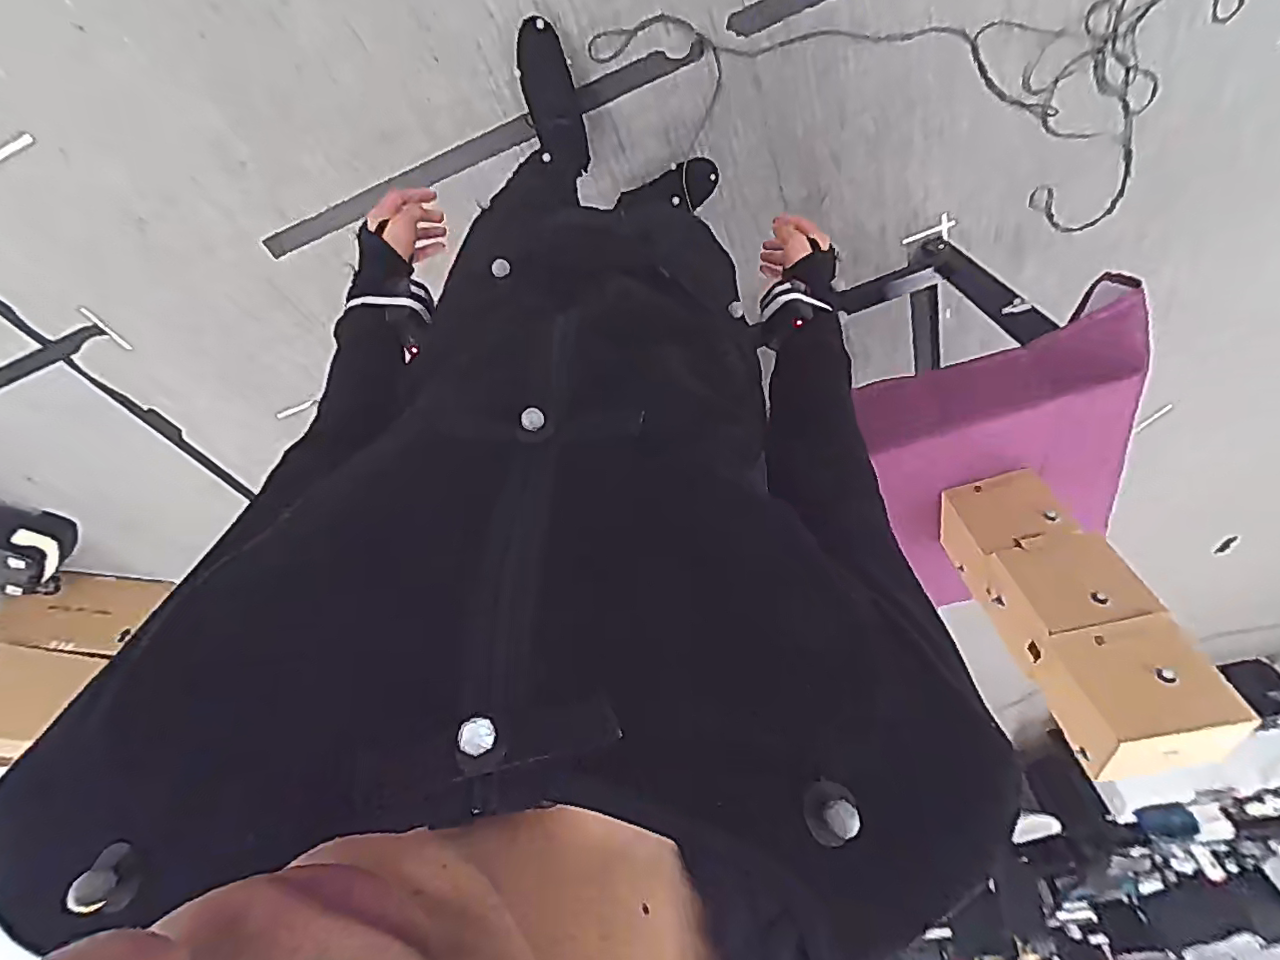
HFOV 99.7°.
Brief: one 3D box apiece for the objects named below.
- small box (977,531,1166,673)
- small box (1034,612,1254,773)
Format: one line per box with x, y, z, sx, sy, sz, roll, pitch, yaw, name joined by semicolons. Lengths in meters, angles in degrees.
0.737;0.210;0.949;0.179;0.176;0.168;-13;132;7;small box
0.745;0.320;0.829;0.168;0.176;0.179;-18;133;12;small box
